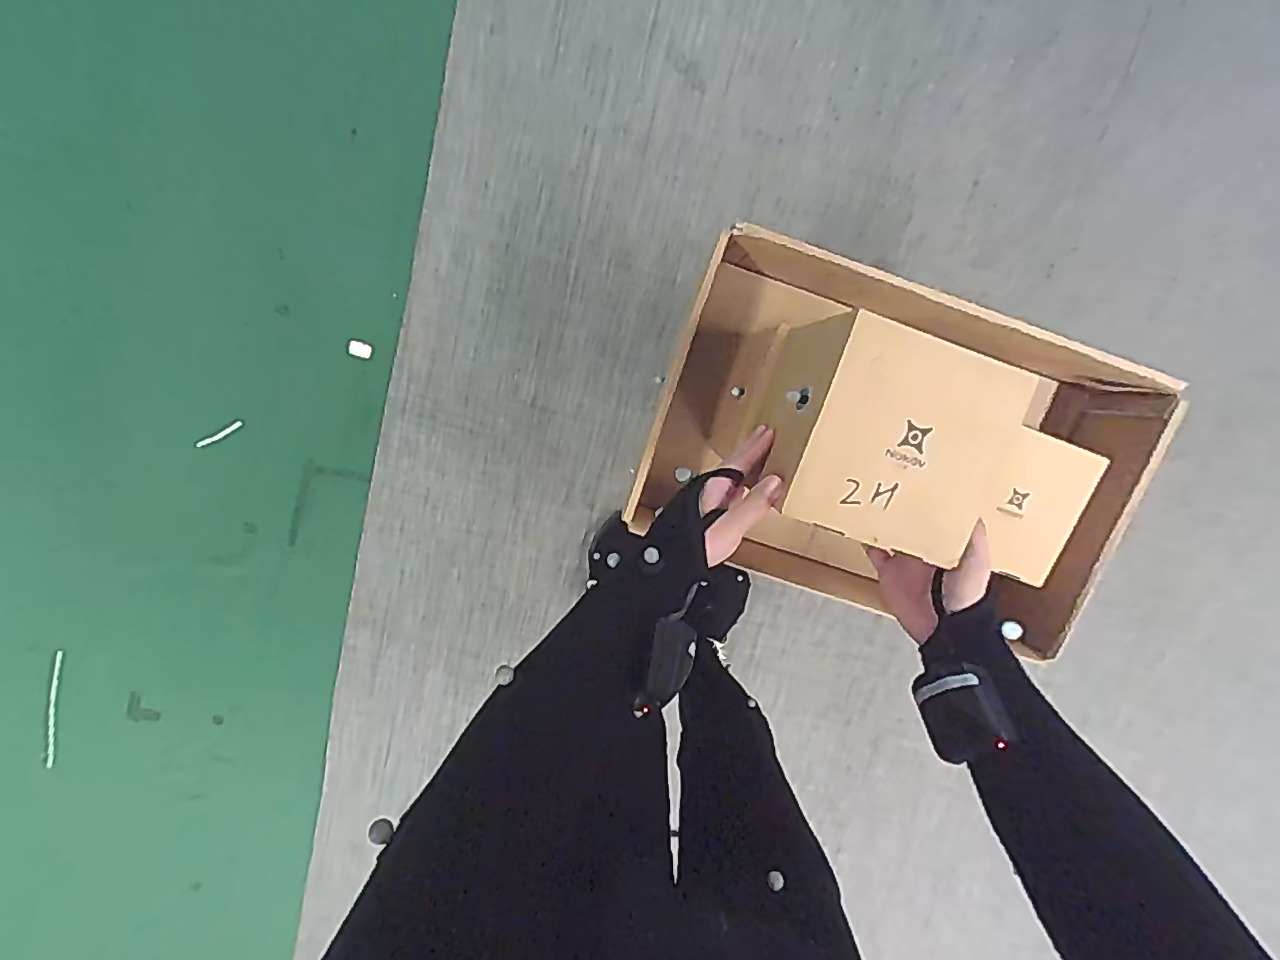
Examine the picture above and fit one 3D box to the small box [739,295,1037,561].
[{"bbox_3d":[0.209,-0.051,0.512,0.168,0.176,0.179,18,99,-6],"label":"small box"}]
